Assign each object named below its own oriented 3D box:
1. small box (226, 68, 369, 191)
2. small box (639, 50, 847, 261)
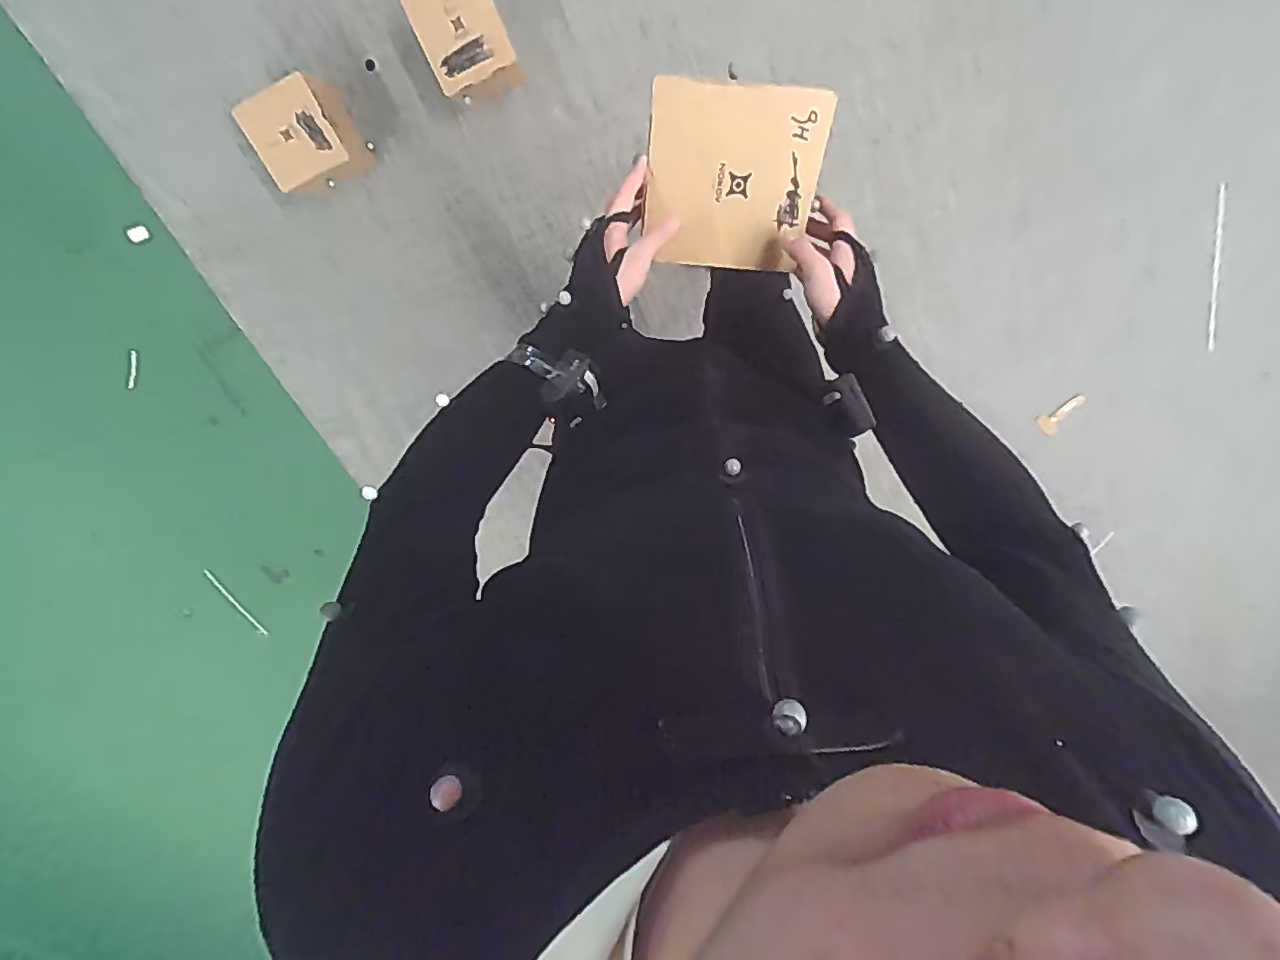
[{"bbox_3d":[-0.722,-0.748,1.170,0.179,0.176,0.168,-20,116,8],"label":"small box"},{"bbox_3d":[0.097,-0.353,0.591,0.179,0.176,0.168,5,127,0],"label":"small box"}]
